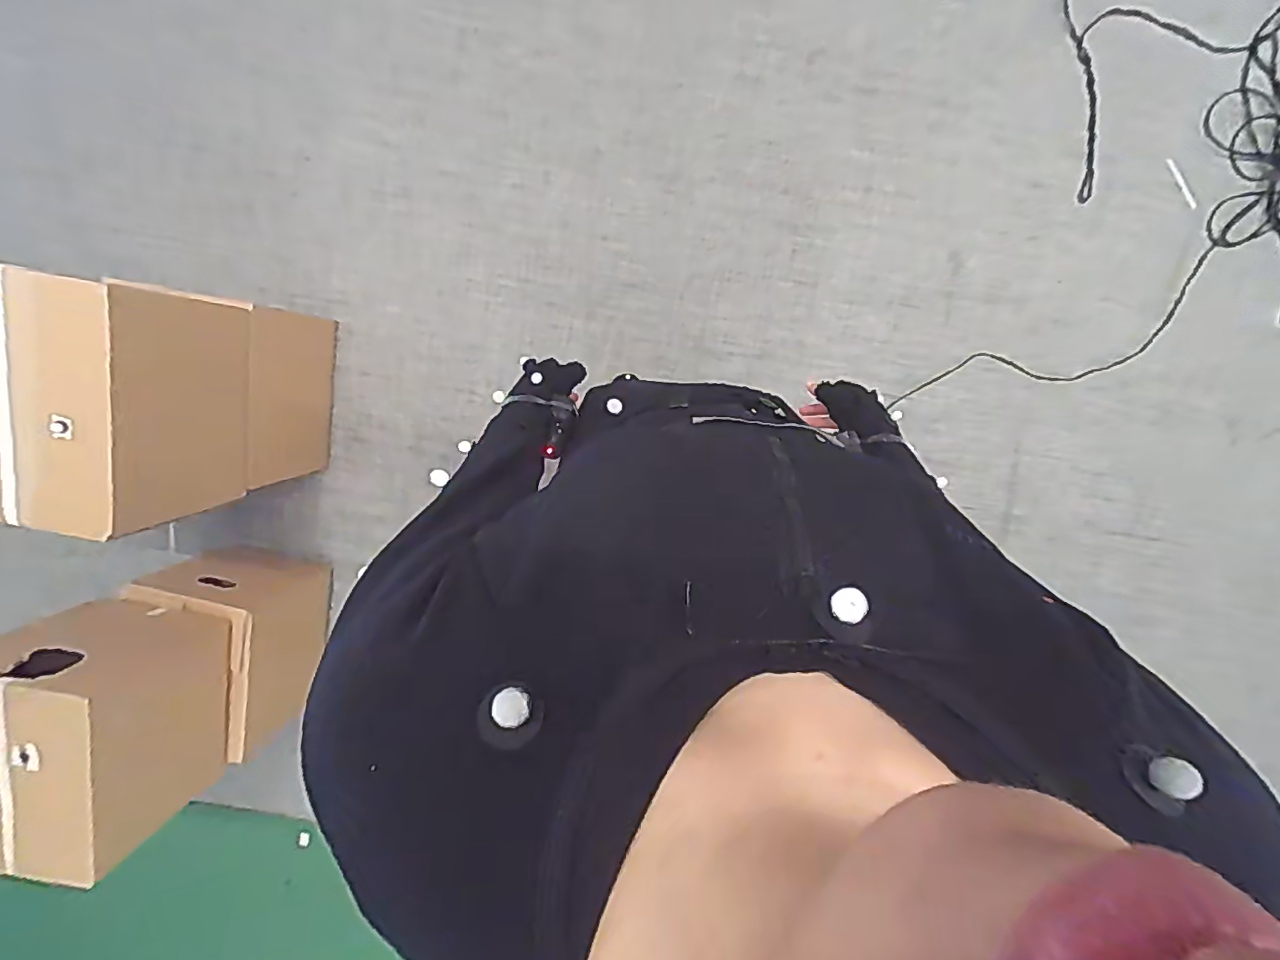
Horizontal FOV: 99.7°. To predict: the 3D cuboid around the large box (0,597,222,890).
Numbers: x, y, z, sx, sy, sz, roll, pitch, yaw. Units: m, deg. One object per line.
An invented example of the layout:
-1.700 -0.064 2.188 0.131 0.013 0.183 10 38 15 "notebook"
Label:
-1.124 0.505 1.105 0.320 0.320 0.408 11 99 2 "large box"
